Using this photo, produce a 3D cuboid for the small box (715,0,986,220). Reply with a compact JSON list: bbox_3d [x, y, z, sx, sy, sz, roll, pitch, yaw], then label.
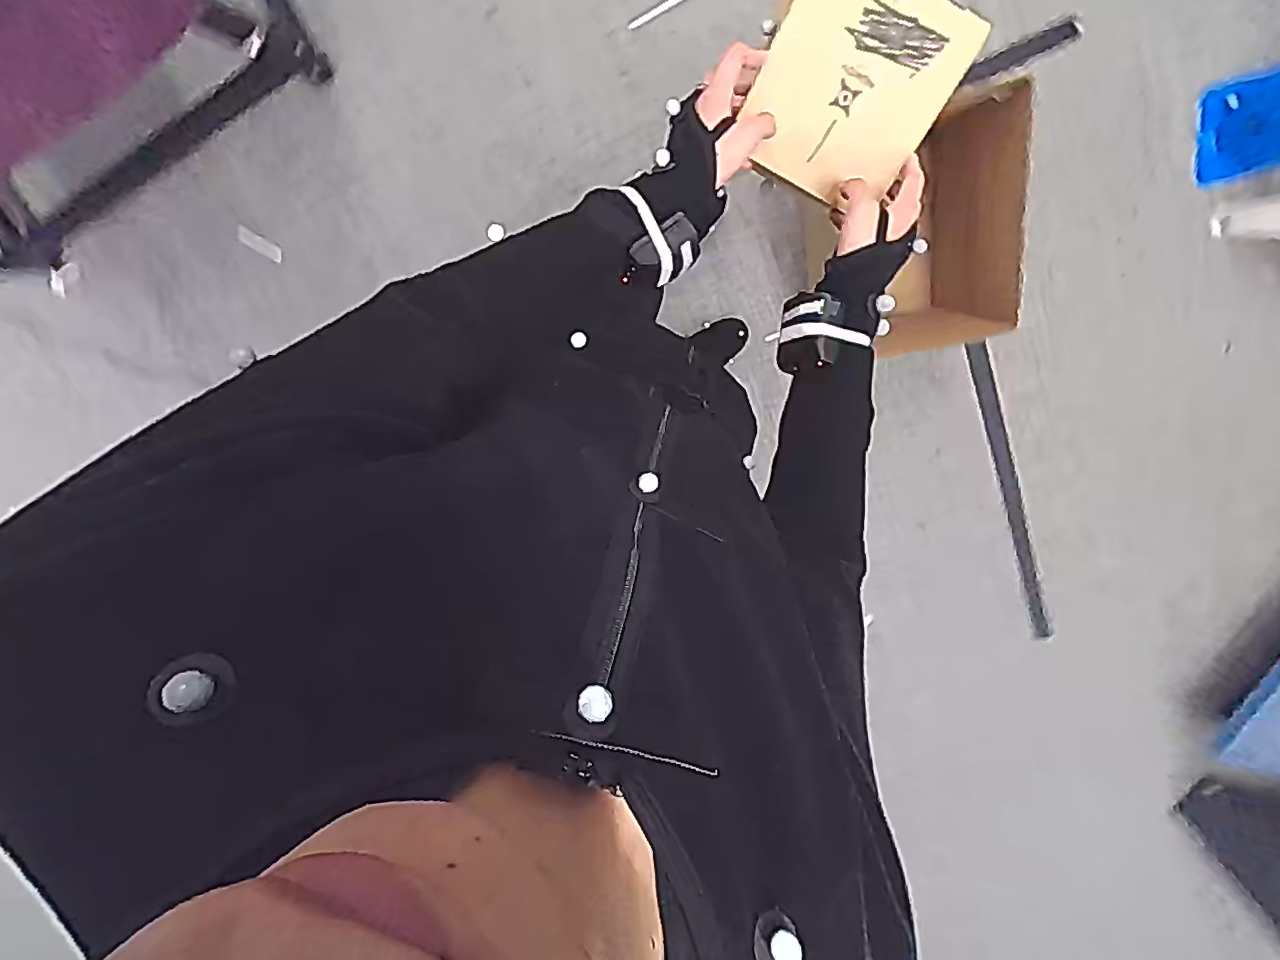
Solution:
[{"bbox_3d":[0.187,-0.396,0.548,0.168,0.176,0.179,22,120,-12],"label":"small box"}]
